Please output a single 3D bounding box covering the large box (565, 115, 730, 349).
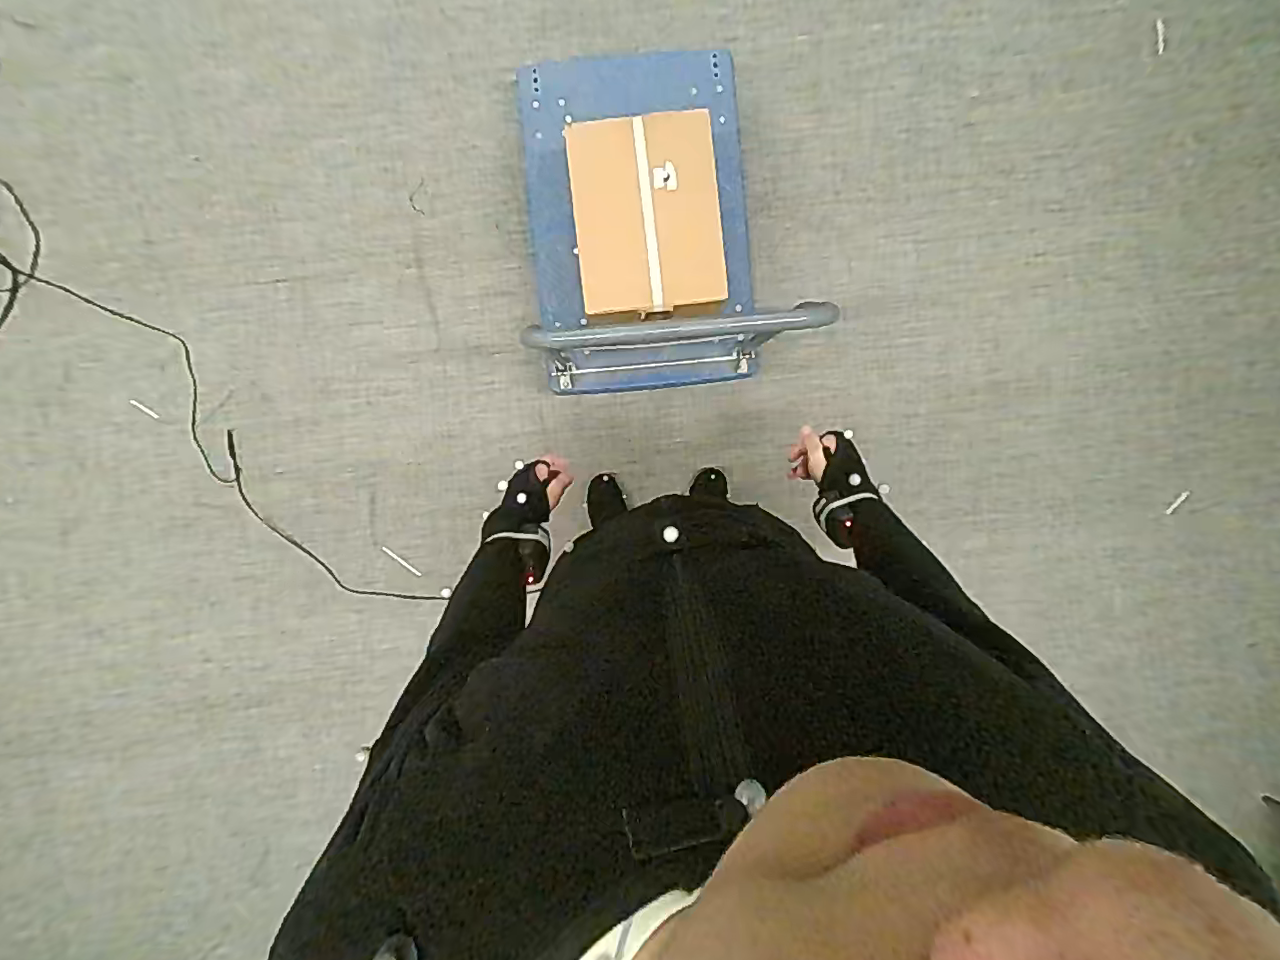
[{"bbox_3d":[0.016,-0.564,1.301,0.320,0.320,0.408,-7,91,-1],"label":"large box"}]
